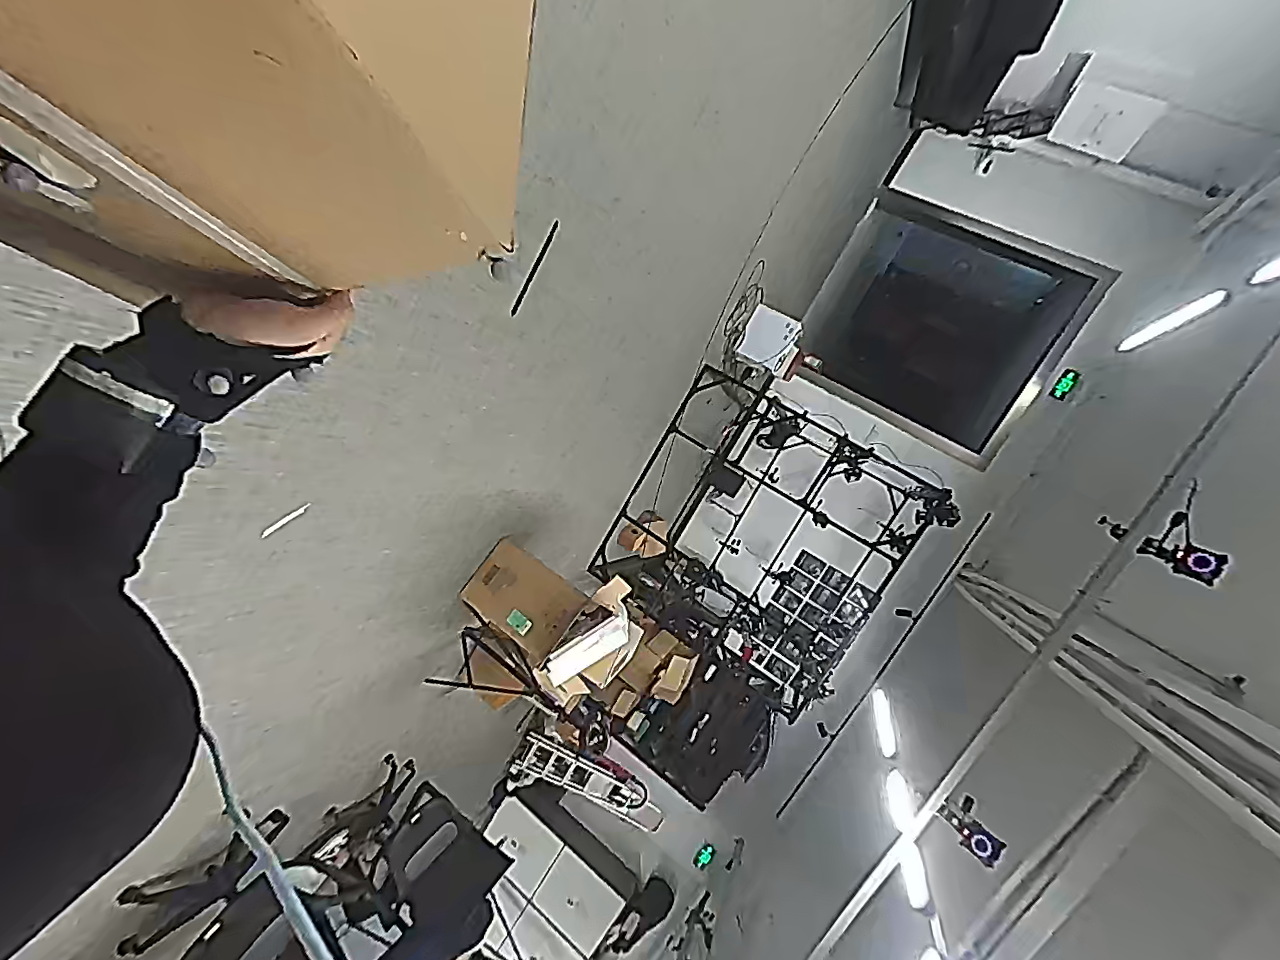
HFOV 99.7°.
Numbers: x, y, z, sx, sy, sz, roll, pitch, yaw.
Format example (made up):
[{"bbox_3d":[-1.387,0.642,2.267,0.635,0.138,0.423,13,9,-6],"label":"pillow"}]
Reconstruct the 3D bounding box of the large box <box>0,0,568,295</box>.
[{"bbox_3d":[-0.253,-0.344,0.234,0.408,0.320,0.320,38,52,-68],"label":"large box"}]
